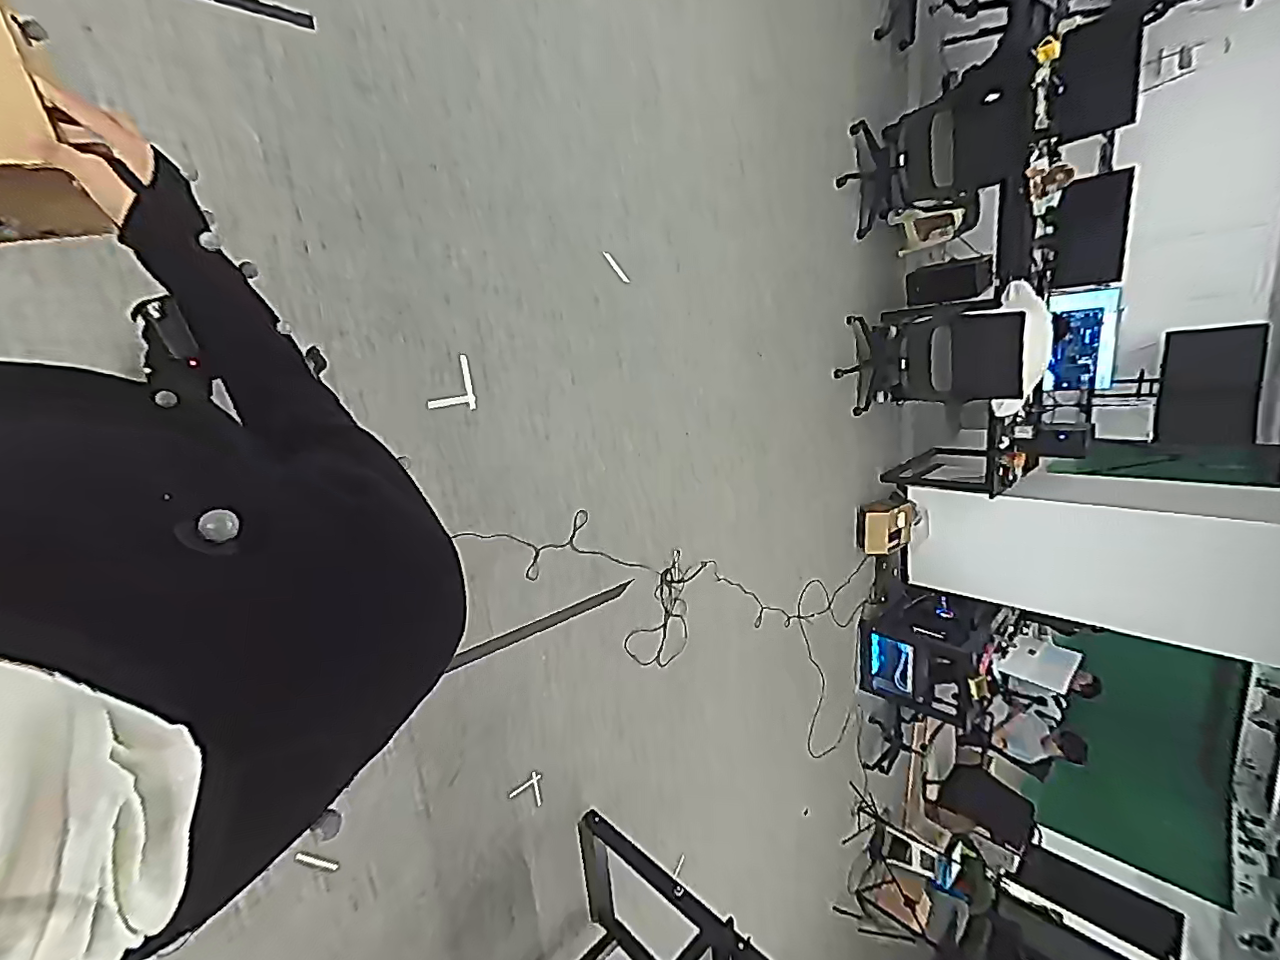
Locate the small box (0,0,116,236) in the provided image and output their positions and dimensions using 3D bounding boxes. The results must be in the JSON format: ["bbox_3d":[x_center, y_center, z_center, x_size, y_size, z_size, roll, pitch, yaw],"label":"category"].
[{"bbox_3d":[-0.608,-0.329,0.463,0.168,0.176,0.179,-22,104,-29],"label":"small box"}]
